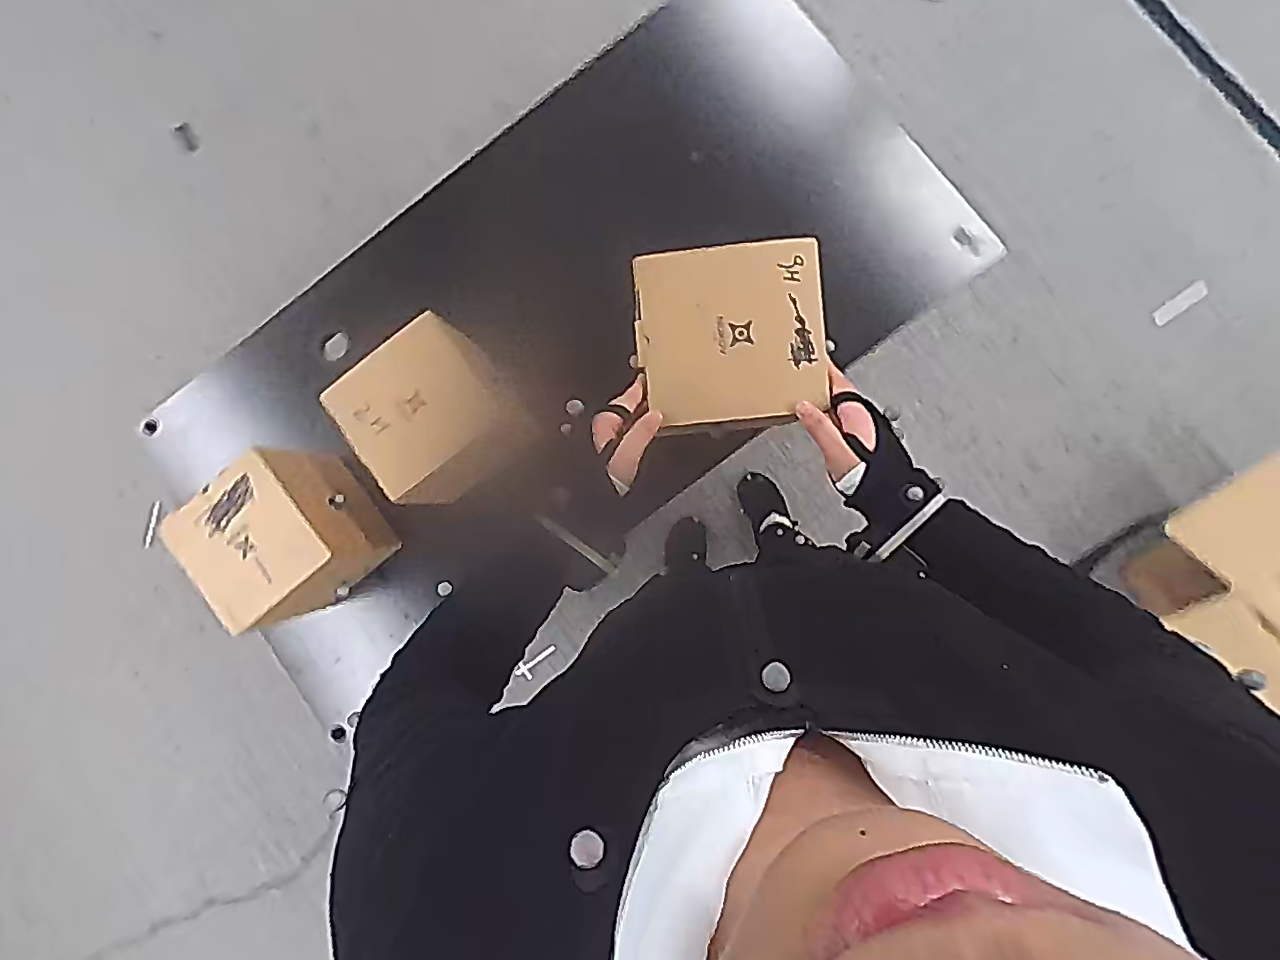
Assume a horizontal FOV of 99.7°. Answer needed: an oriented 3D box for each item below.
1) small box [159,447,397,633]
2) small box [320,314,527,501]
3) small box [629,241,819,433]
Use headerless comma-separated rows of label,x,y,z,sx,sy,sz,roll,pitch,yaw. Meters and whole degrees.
small box,-0.485,0.078,0.751,0.168,0.176,0.179,-39,86,3
small box,-0.275,-0.087,0.737,0.179,0.176,0.168,-37,85,3
small box,0.086,-0.143,0.599,0.179,0.176,0.168,-4,92,4
